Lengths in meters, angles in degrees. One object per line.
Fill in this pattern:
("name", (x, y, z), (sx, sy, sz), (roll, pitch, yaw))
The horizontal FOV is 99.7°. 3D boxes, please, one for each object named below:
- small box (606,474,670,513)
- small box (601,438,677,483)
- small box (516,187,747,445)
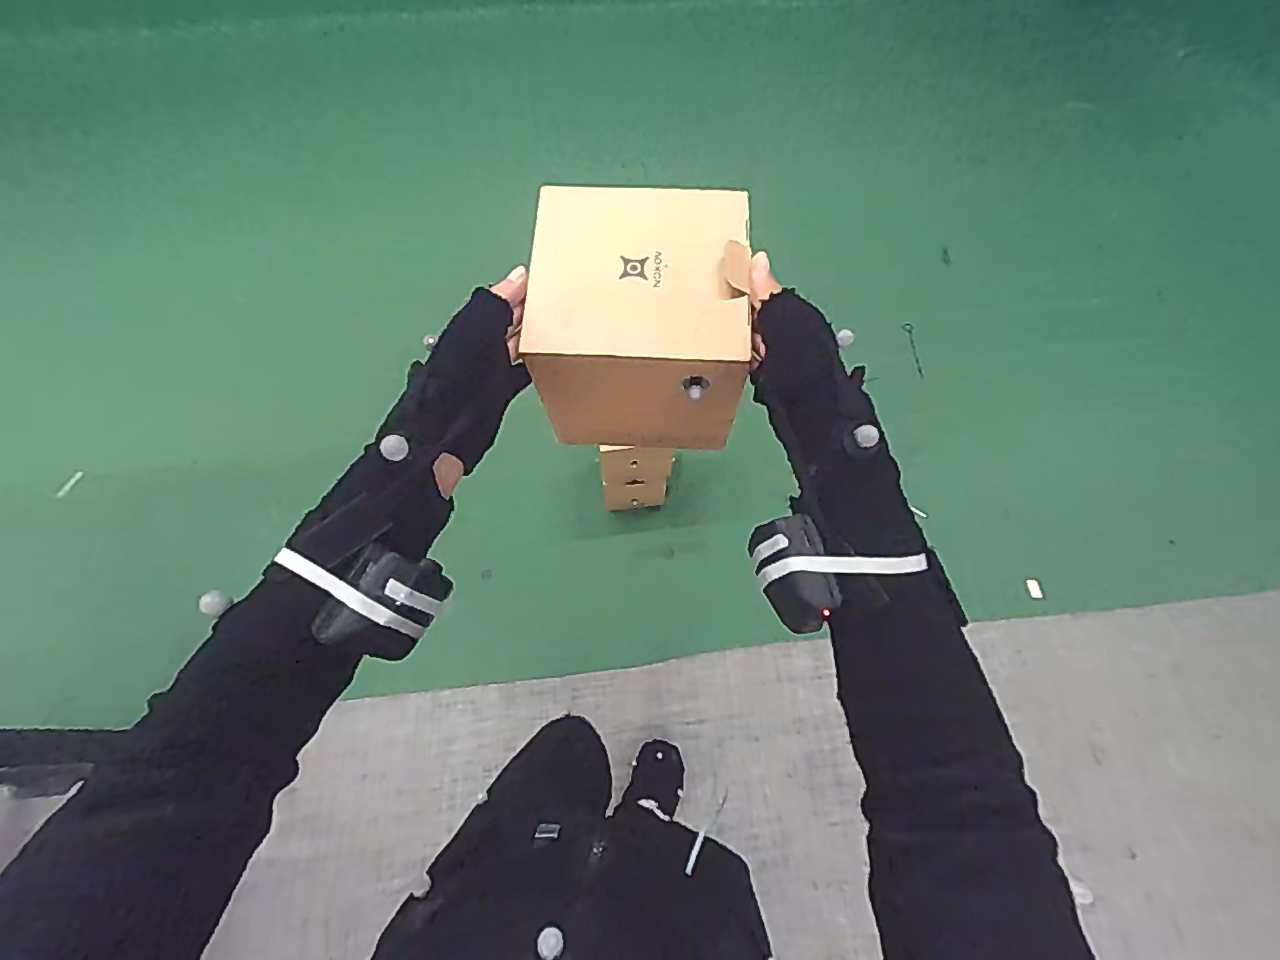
("small box", (-0.012, -0.026, 1.491), (0.168, 0.176, 0.179), (-6, 64, -2))
("small box", (-0.007, -0.104, 1.344), (0.179, 0.176, 0.168), (-4, 62, -2))
("small box", (-0.001, -0.140, 0.503), (0.179, 0.176, 0.168), (2, 69, 1))
